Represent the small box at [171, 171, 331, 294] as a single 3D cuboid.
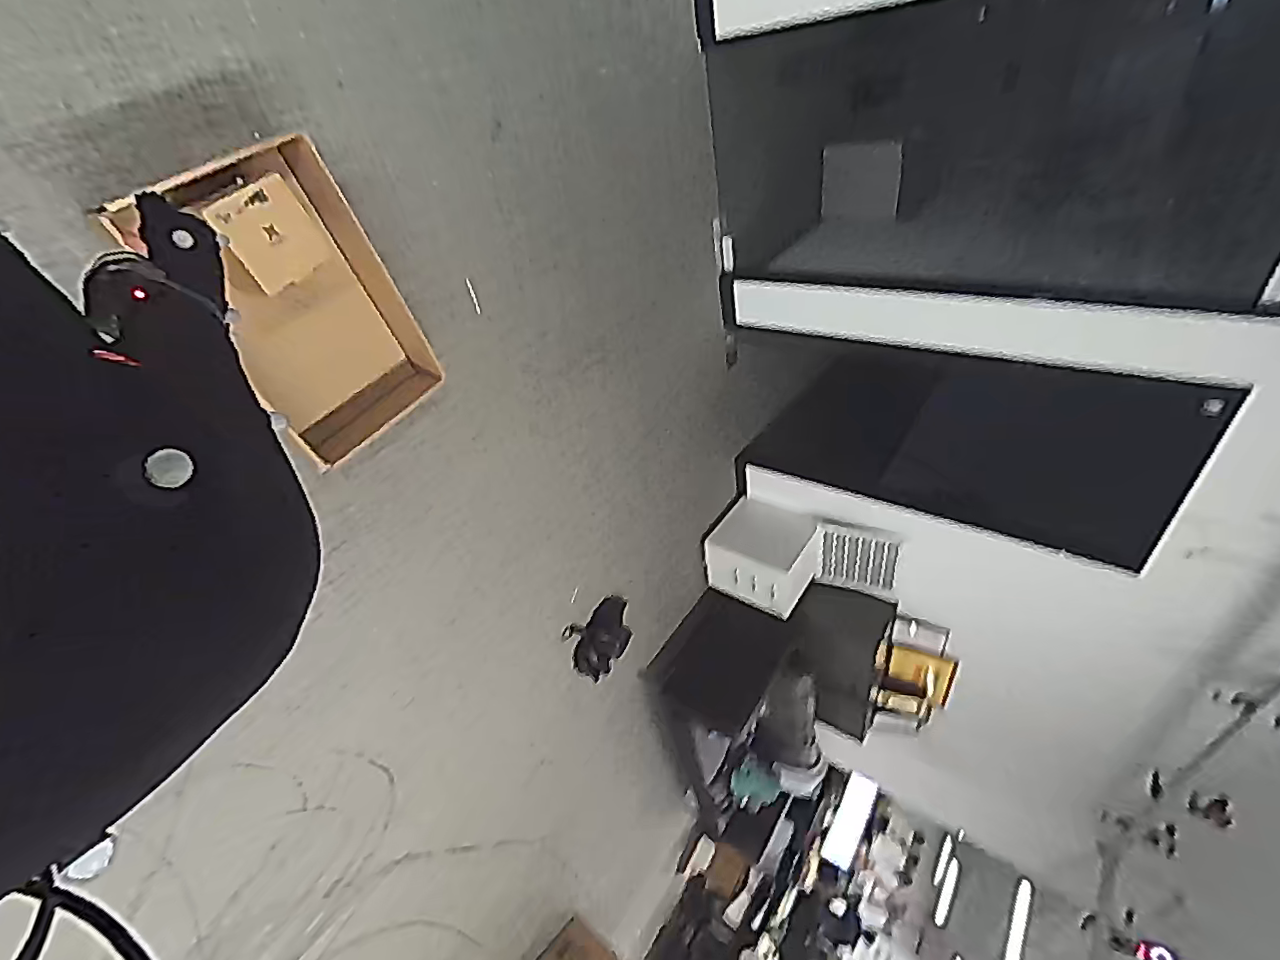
[{"bbox_3d":[-0.788,-0.508,1.102,0.168,0.176,0.179,-52,144,-28],"label":"small box"}]
